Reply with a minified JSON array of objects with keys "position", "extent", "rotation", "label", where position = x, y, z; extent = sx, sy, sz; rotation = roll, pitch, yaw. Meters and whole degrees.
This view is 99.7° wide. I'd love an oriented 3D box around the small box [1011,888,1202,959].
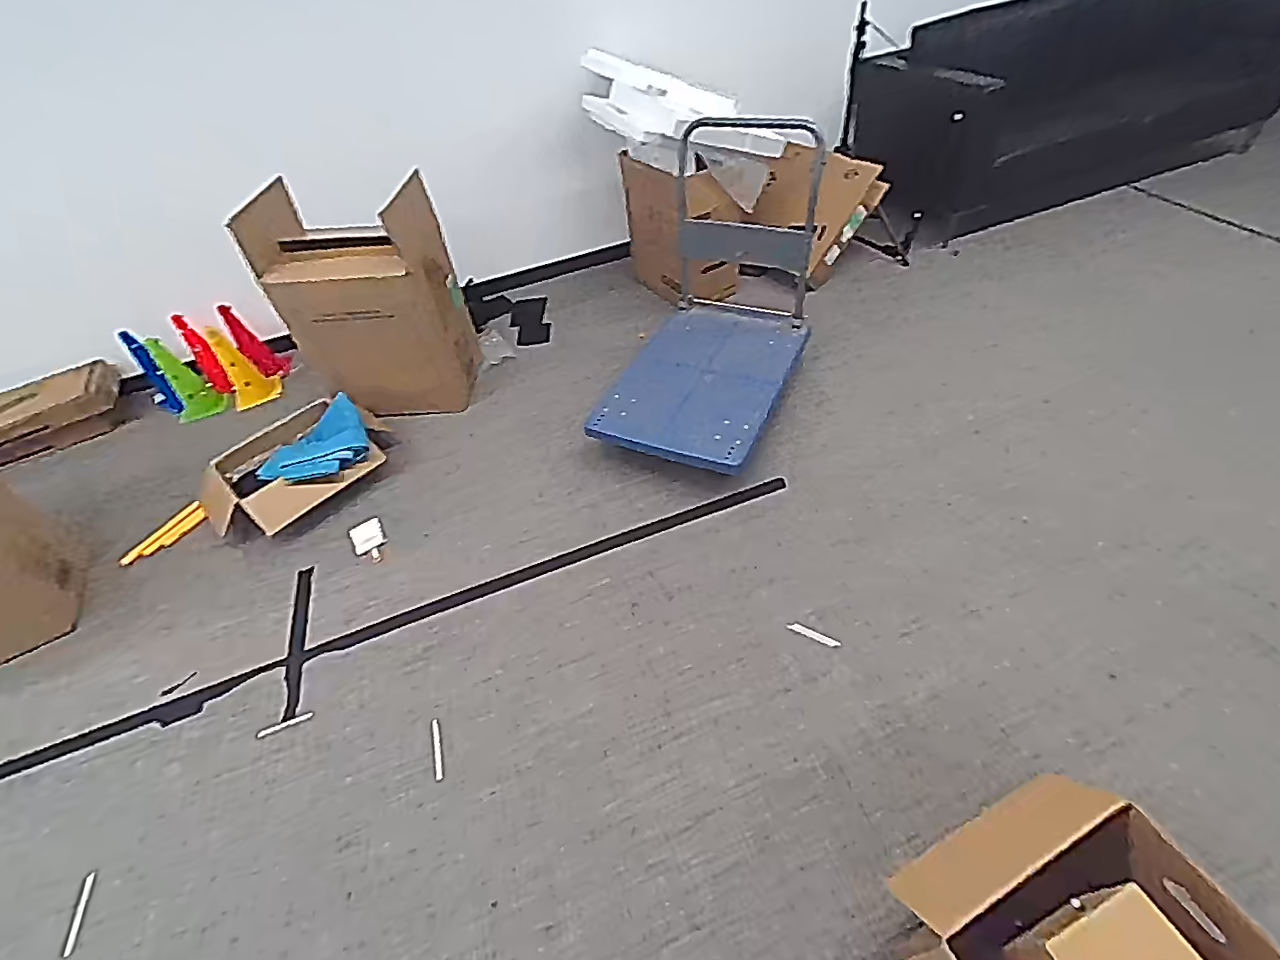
[{"position":[0.681,0.722,0.770],"extent":[0.179,0.176,0.168],"rotation":[-22,47,-10],"label":"small box"}]
